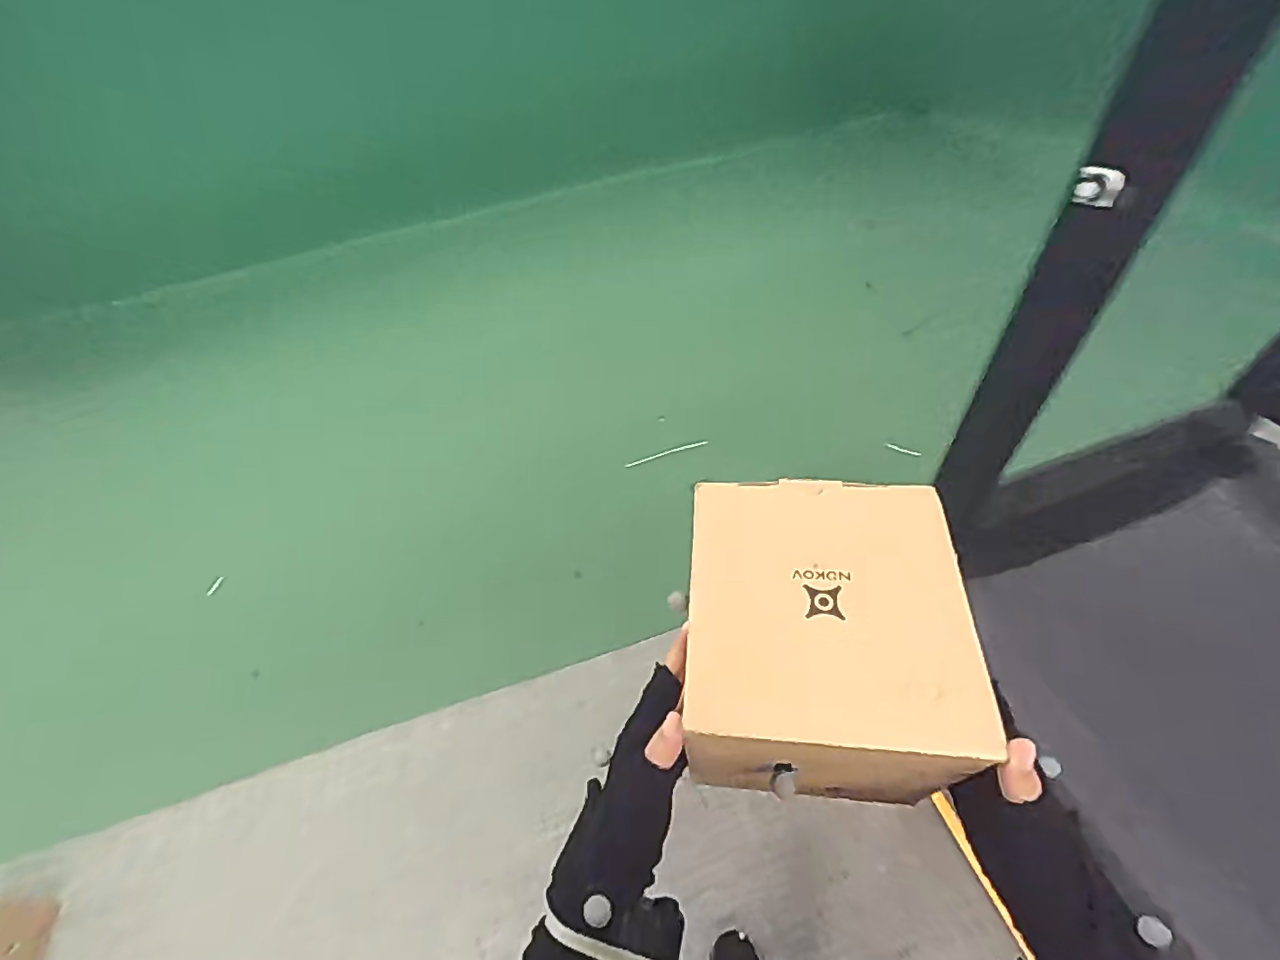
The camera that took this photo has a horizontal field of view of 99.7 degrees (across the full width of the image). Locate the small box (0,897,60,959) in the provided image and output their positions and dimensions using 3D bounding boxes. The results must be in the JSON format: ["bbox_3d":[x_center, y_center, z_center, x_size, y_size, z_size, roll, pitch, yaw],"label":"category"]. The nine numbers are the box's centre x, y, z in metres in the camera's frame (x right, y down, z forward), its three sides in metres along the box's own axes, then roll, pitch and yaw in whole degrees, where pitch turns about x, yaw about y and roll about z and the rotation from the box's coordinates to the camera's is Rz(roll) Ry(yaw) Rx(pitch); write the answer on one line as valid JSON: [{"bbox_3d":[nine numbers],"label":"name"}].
[{"bbox_3d":[-1.442,1.029,1.169,0.179,0.176,0.168,-17,49,-6],"label":"small box"}]
